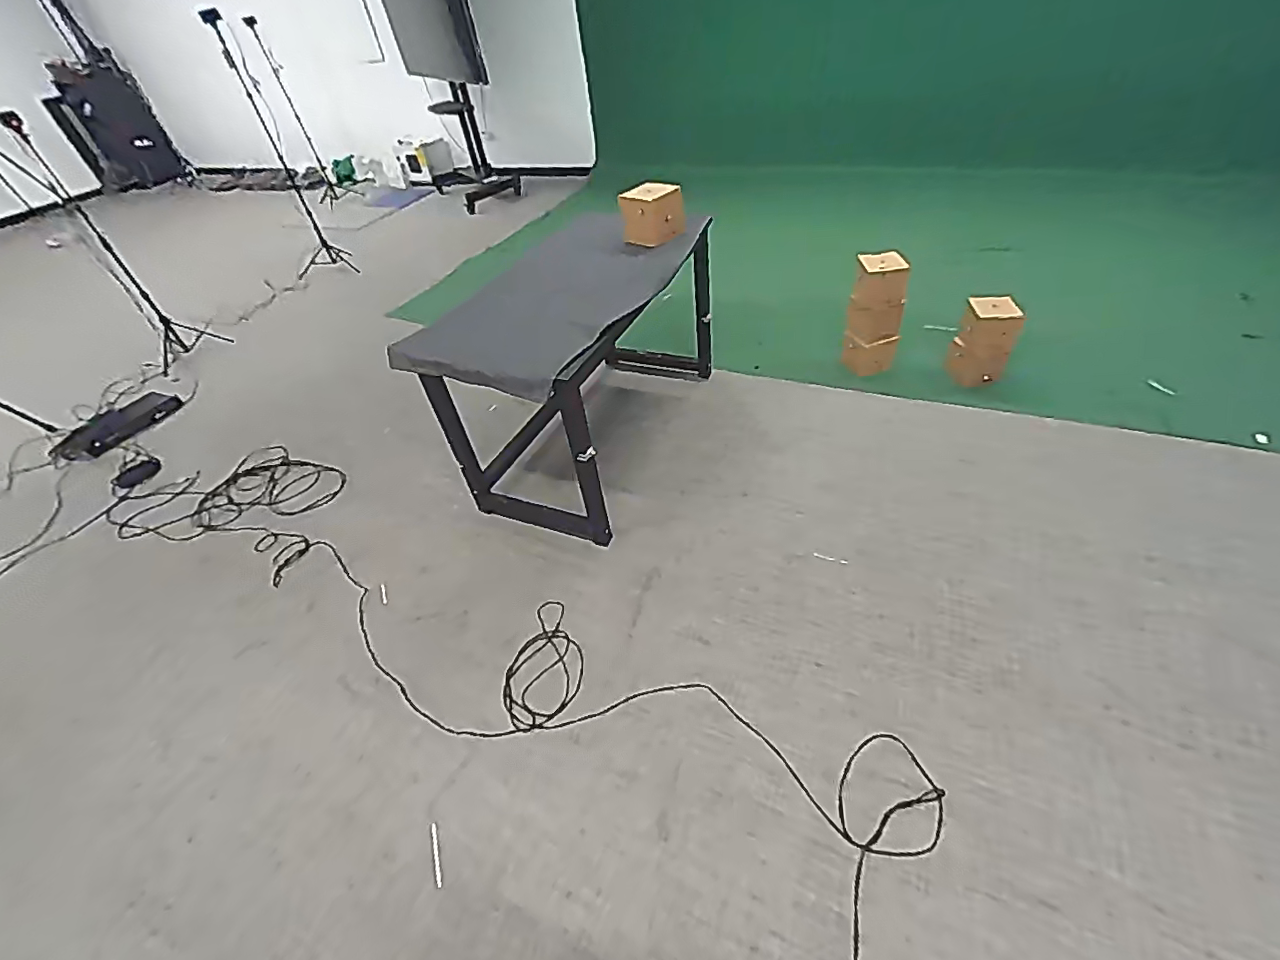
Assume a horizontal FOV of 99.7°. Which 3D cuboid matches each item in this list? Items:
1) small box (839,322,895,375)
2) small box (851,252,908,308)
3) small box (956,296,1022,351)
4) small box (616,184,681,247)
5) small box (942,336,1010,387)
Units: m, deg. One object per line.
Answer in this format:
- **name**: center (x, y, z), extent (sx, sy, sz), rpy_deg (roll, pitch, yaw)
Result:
- **small box**: center (1.063, -0.612, 2.539), extent (0.168, 0.176, 0.179), rpy_deg (-19, 44, -9)
- **small box**: center (1.025, -0.862, 2.329), extent (0.168, 0.176, 0.179), rpy_deg (-5, 43, 4)
- **small box**: center (1.463, -0.657, 2.279), extent (0.168, 0.176, 0.179), rpy_deg (1, 43, 9)
- **small box**: center (0.038, -0.998, 2.045), extent (0.179, 0.176, 0.168), rpy_deg (29, 55, 36)
- **small box**: center (1.475, -0.535, 2.386), extent (0.168, 0.176, 0.179), rpy_deg (-14, 44, -5)
